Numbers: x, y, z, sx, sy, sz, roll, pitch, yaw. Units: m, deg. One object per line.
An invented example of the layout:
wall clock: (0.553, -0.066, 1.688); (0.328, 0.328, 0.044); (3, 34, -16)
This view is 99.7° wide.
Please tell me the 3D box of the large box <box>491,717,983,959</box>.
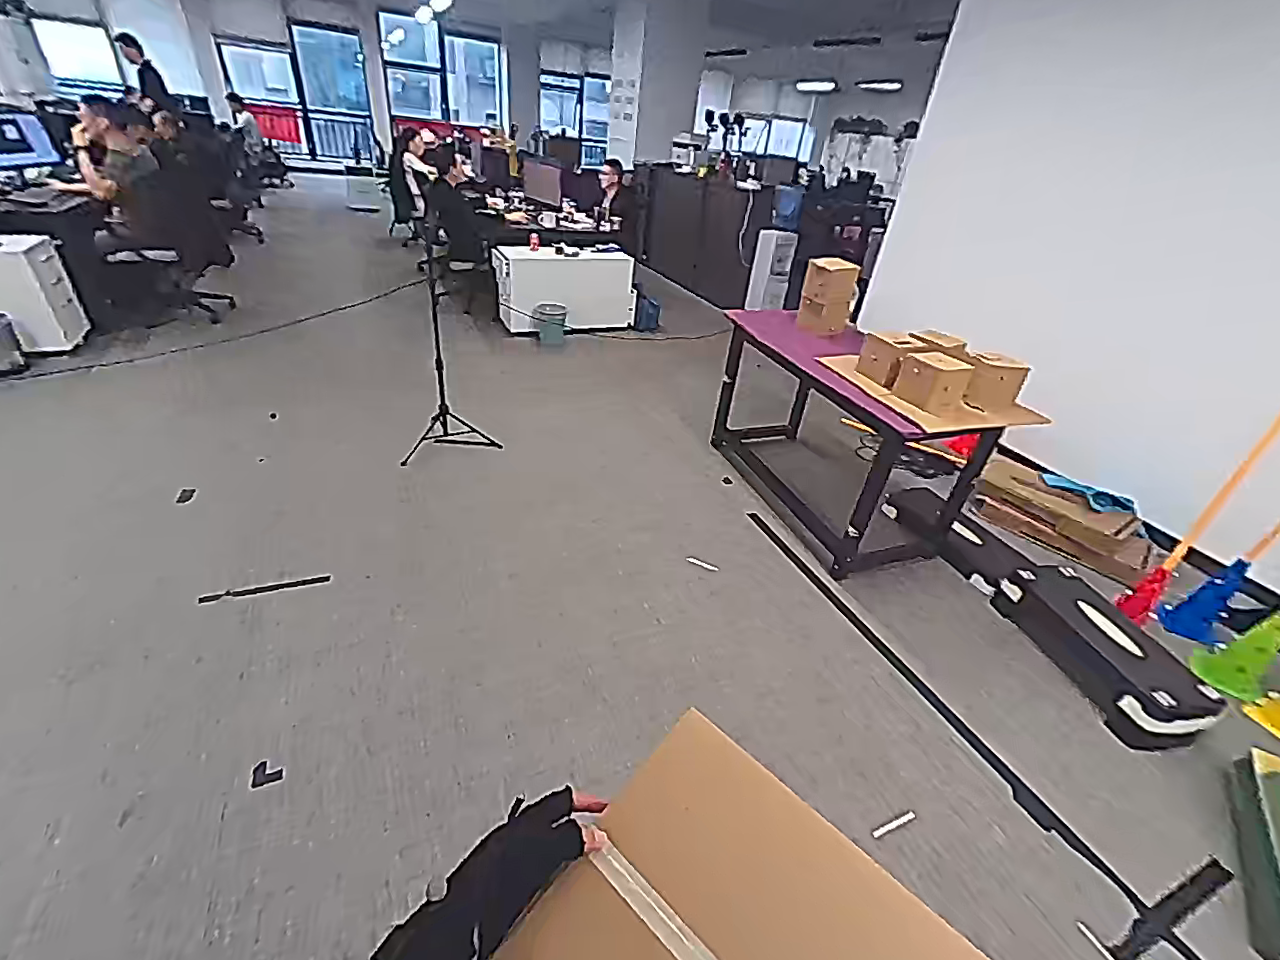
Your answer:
large box: (0.097, 0.530, 0.522); (0.408, 0.320, 0.320); (34, 54, 27)
